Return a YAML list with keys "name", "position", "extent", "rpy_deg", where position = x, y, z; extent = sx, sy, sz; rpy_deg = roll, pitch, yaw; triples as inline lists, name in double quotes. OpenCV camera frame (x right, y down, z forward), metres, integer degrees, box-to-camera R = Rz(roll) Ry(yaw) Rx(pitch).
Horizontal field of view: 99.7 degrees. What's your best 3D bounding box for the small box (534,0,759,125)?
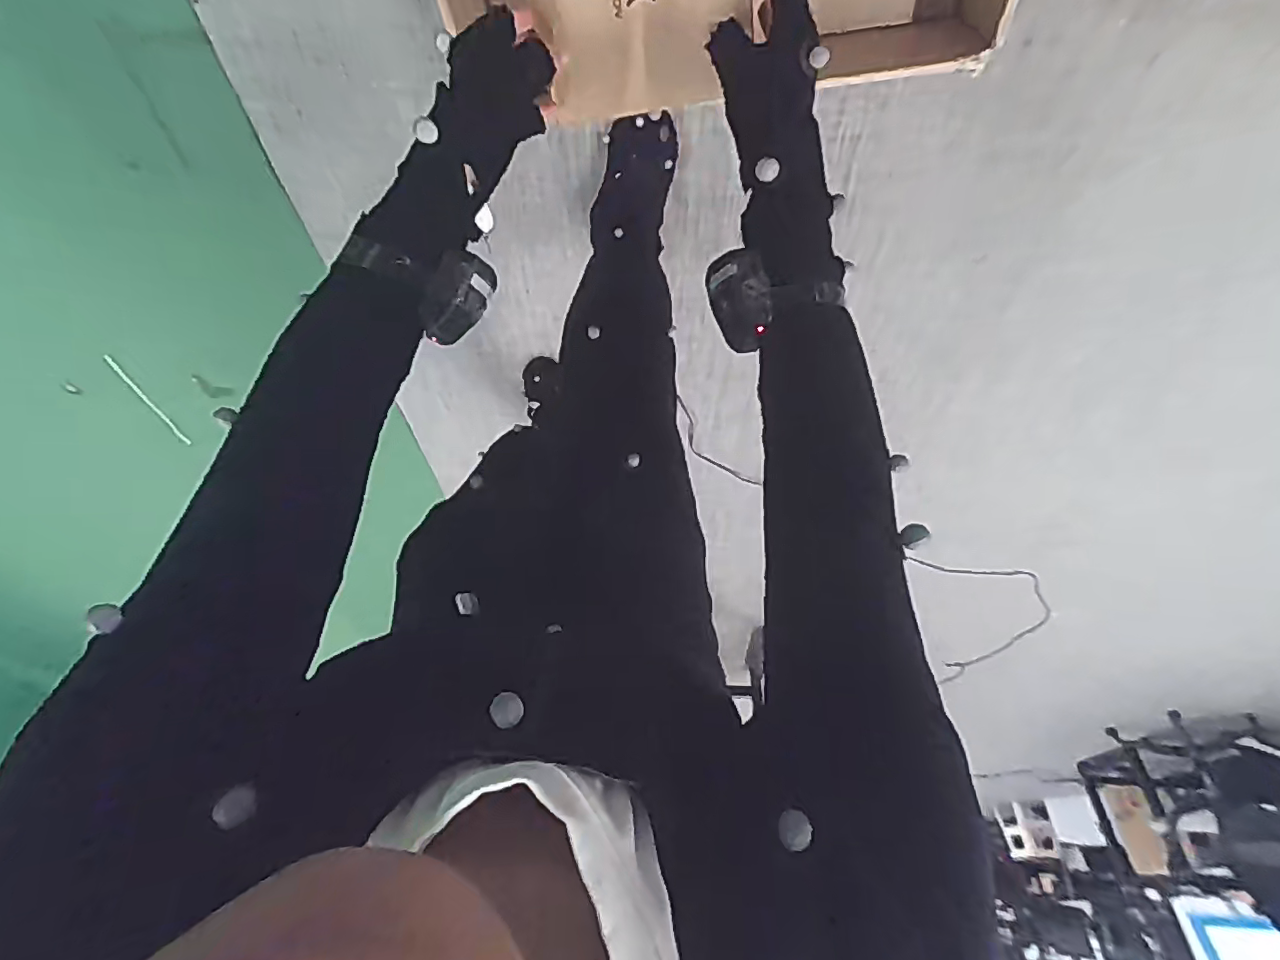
- name: "small box"
  position: [0.012, -0.437, 0.470]
  extent: [0.179, 0.176, 0.168]
  rpy_deg: [-2, 136, 13]
